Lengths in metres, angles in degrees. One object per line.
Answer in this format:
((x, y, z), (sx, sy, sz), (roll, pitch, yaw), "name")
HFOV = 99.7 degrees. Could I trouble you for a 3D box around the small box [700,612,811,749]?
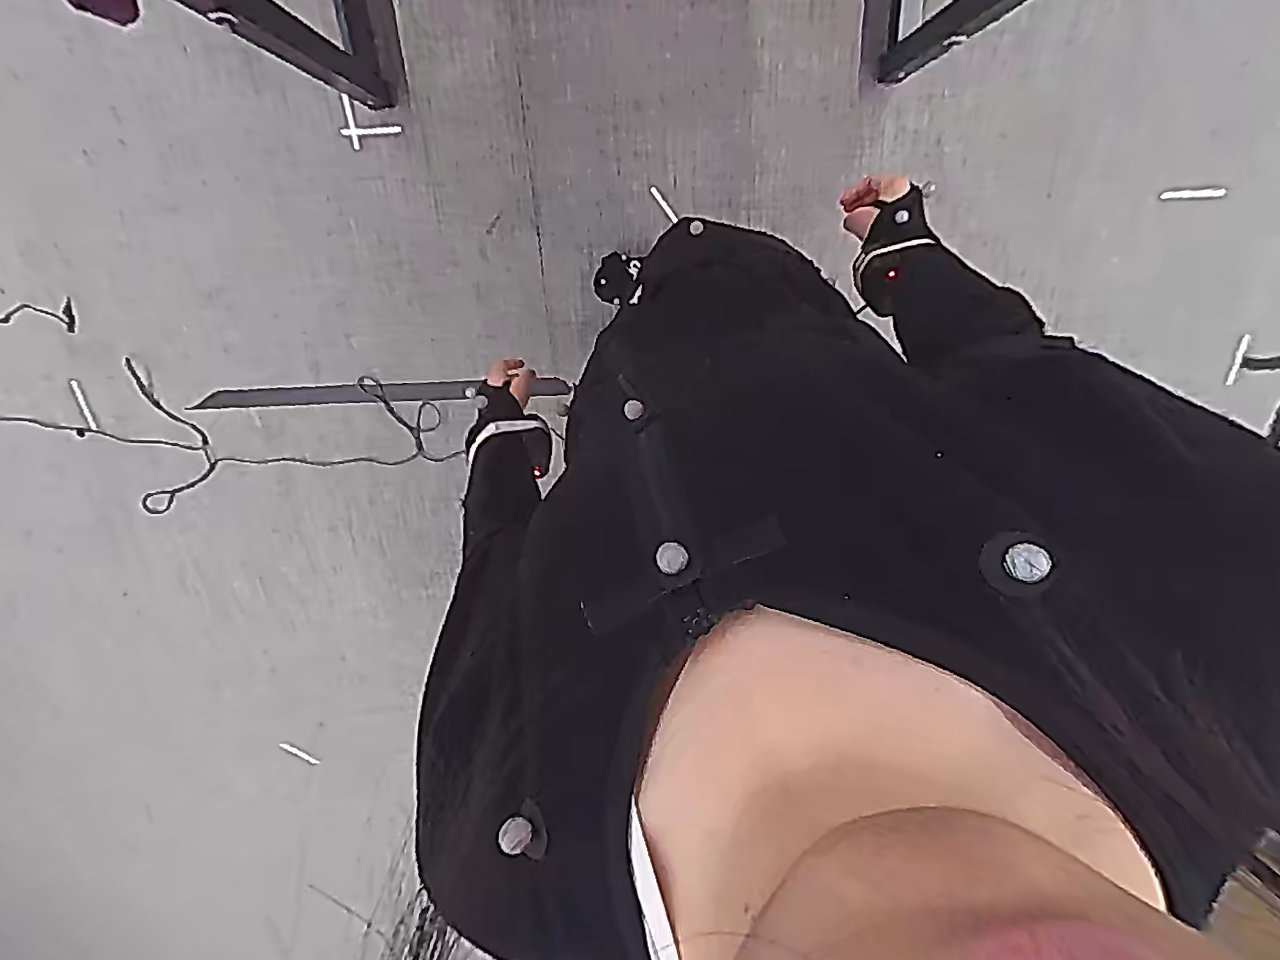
((0.203, 0.366, 0.999), (0.168, 0.176, 0.179), (-2, 114, 0), "small box")
